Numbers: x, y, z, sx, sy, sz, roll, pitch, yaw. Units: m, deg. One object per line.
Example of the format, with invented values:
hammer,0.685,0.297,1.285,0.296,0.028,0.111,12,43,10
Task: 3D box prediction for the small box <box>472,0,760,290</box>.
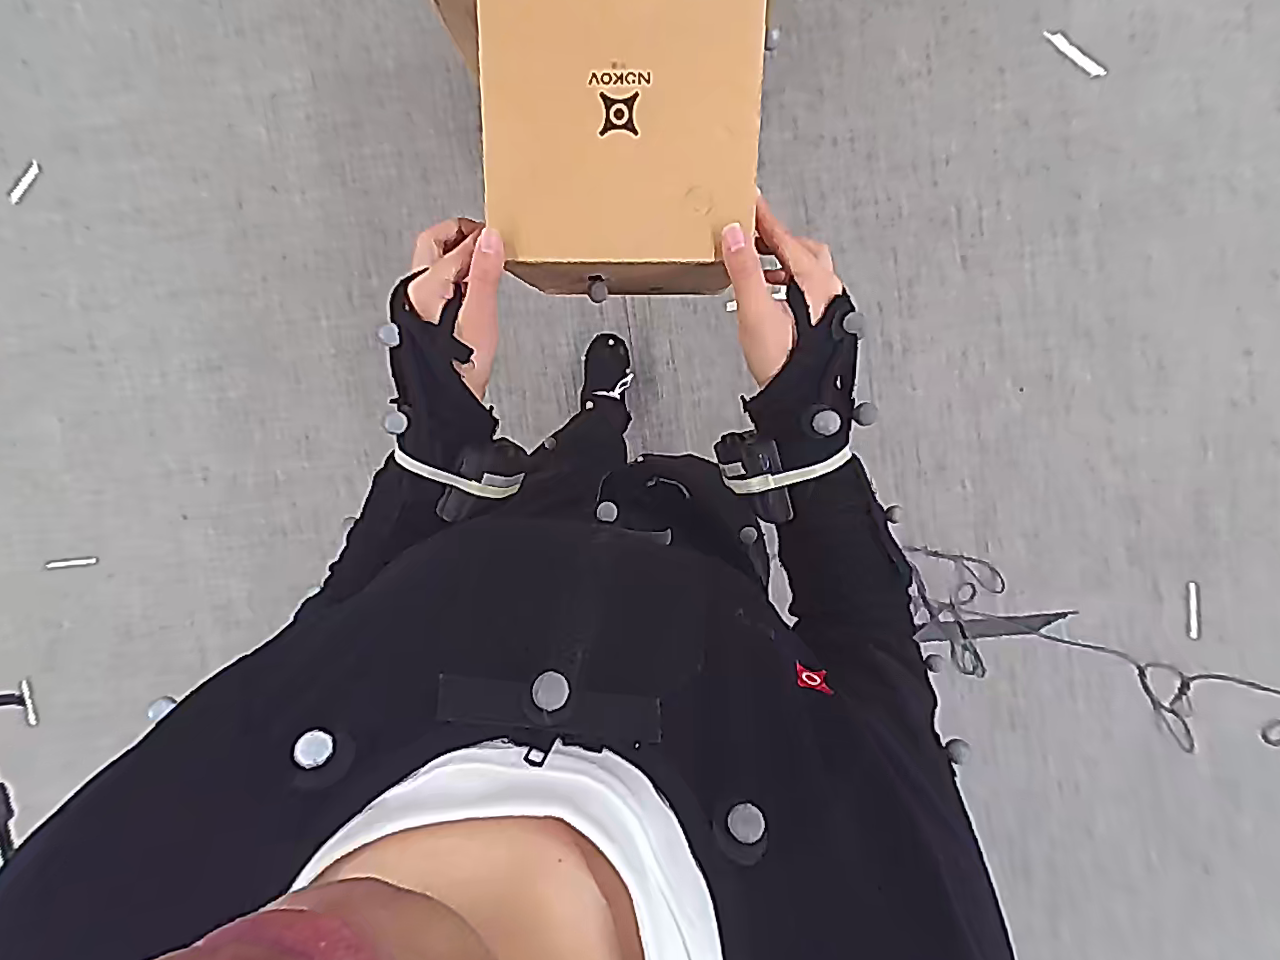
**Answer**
small box,-0.010,-0.238,0.391,0.168,0.176,0.179,1,101,3
